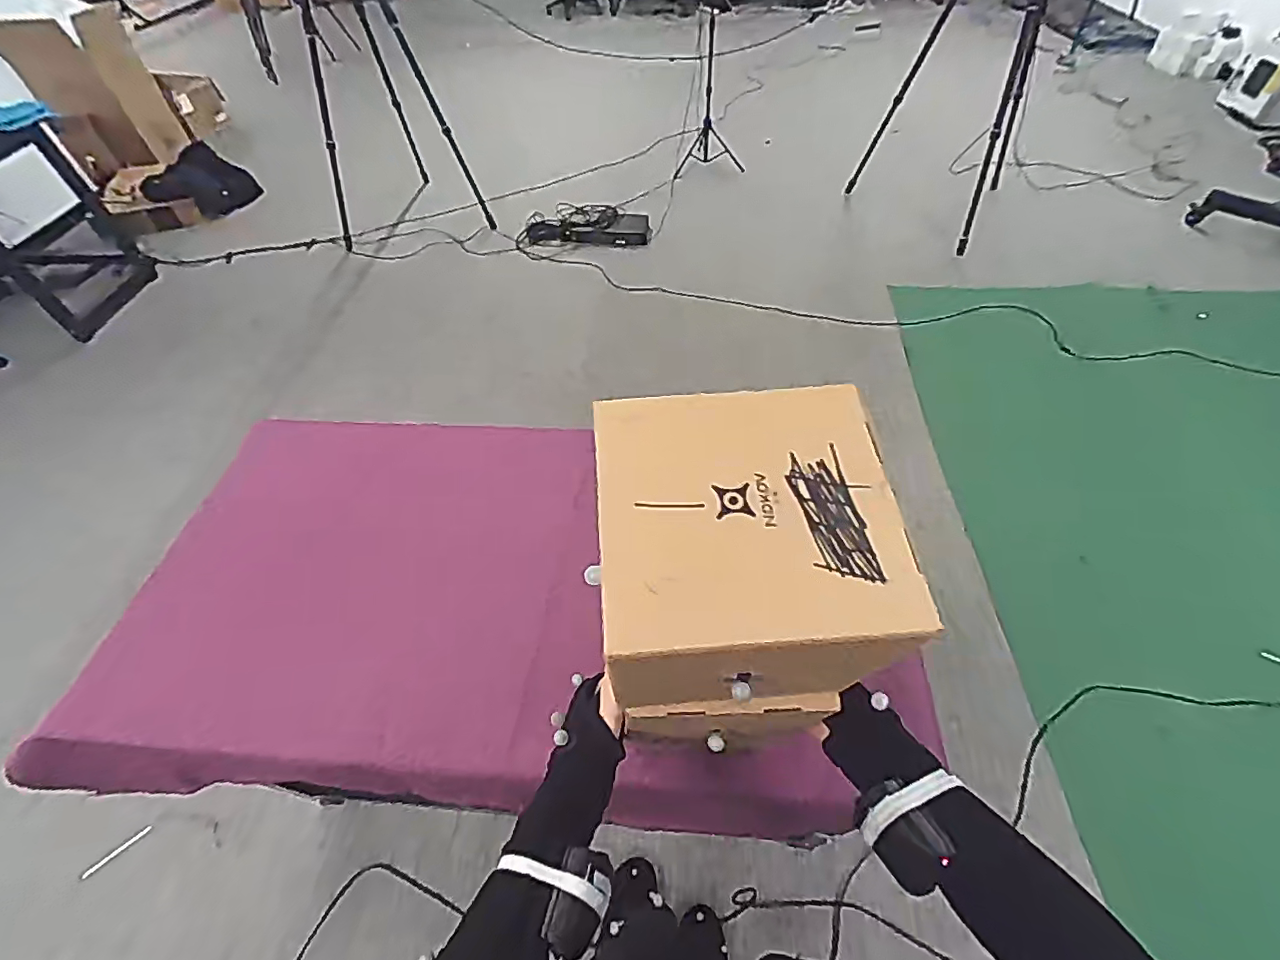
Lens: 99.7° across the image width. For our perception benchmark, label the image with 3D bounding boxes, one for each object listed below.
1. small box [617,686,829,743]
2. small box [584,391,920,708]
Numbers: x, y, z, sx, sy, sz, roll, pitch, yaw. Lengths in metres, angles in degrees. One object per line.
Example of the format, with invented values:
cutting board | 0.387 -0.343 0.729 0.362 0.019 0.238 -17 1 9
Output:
small box | 0.062 0.146 0.521 0.168 0.176 0.179 -1 58 0
small box | 0.054 0.057 0.383 0.179 0.176 0.168 -4 58 -1
